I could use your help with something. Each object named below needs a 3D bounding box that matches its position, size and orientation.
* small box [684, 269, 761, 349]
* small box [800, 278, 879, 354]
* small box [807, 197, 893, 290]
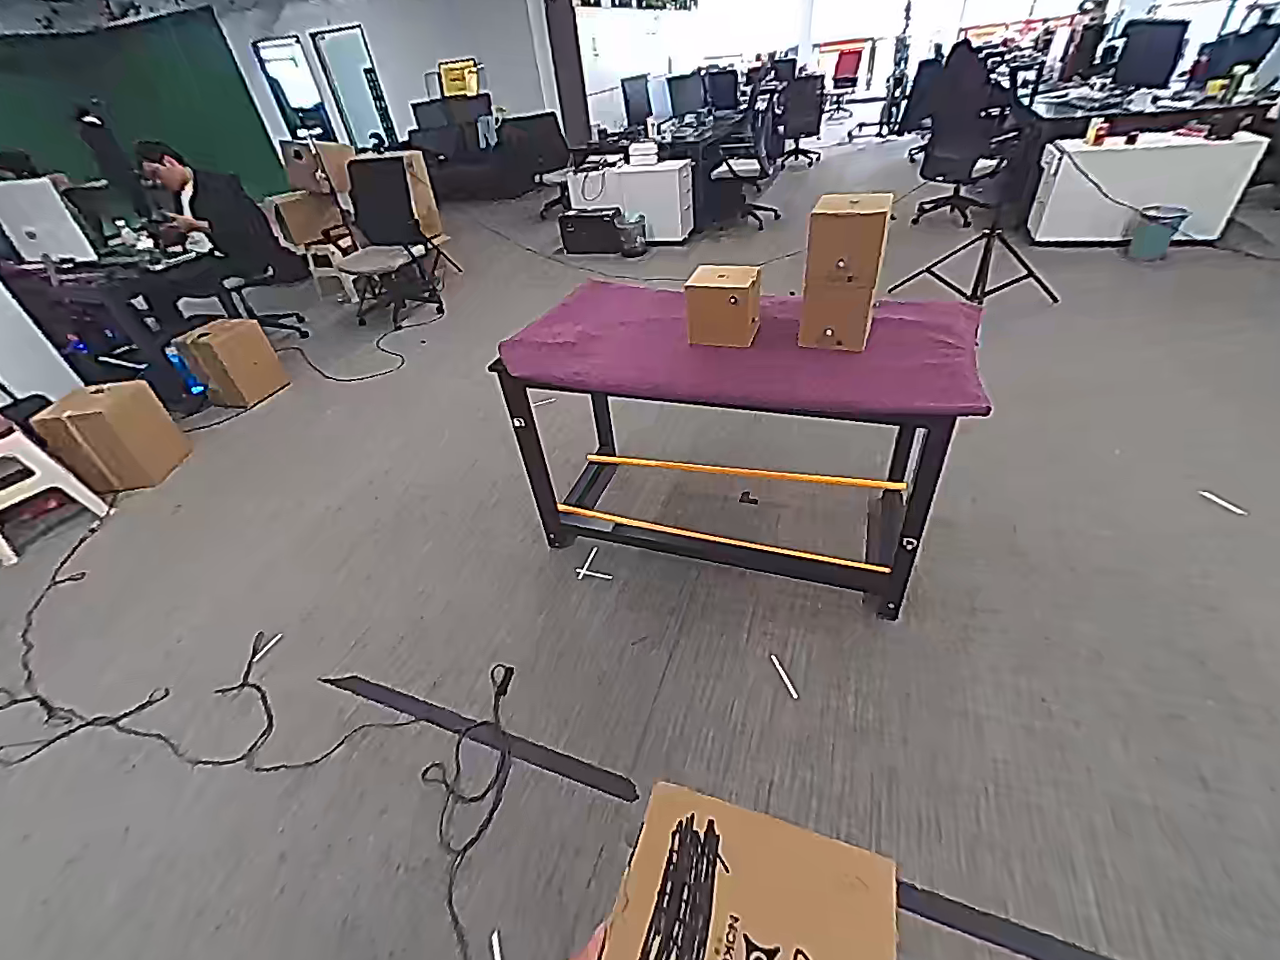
[{"bbox_3d":[0.232,-0.477,1.504,0.179,0.176,0.168,9,41,19],"label":"small box"},{"bbox_3d":[0.522,-0.451,1.421,0.168,0.176,0.179,11,42,22],"label":"small box"},{"bbox_3d":[0.507,-0.578,1.317,0.168,0.176,0.179,10,42,23],"label":"small box"}]
